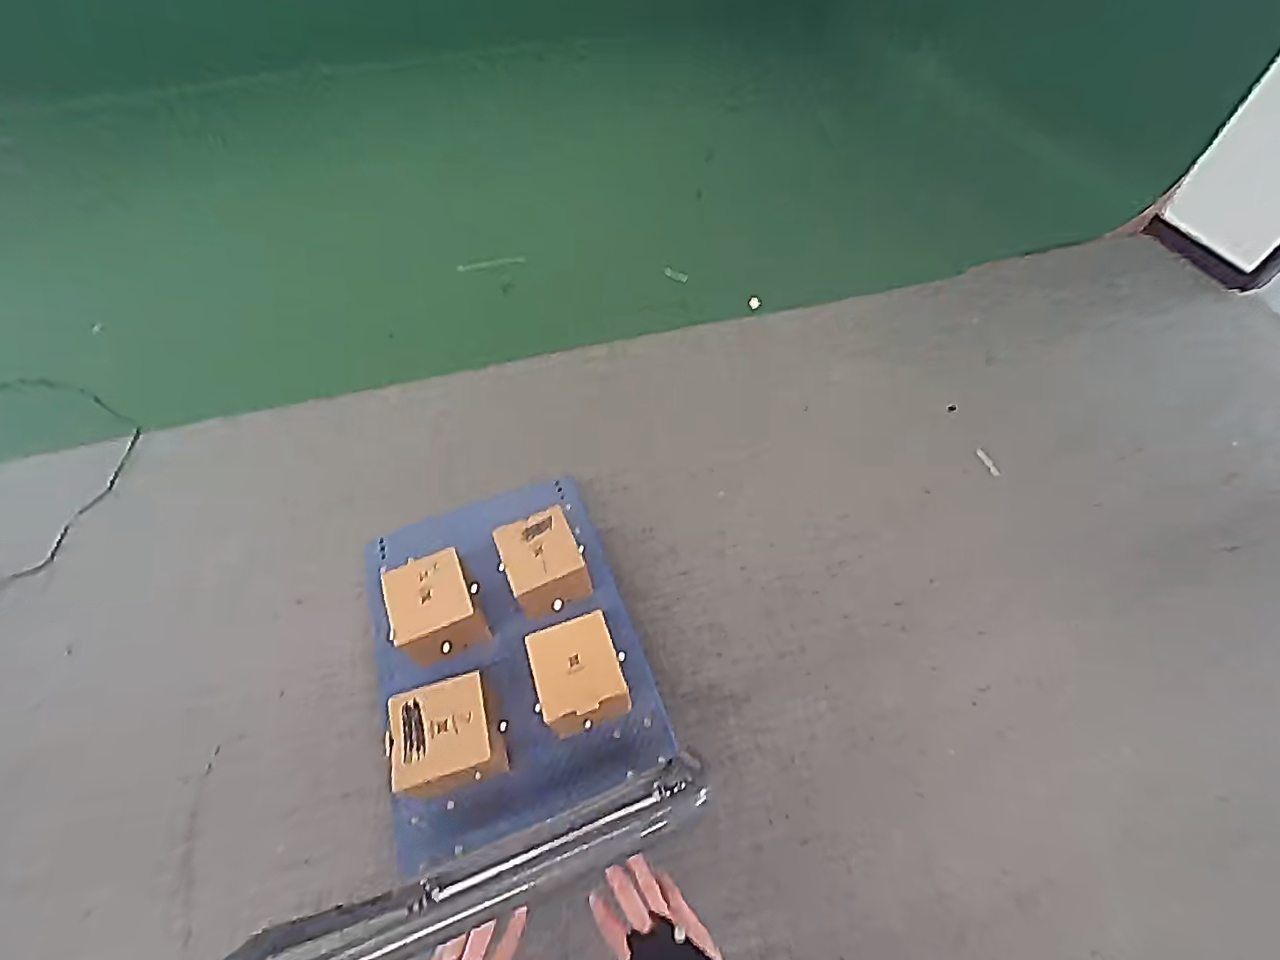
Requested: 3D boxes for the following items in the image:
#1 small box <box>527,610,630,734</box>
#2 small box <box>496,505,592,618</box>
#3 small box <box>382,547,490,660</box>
[{"bbox_3d":[-0.125,0.403,1.126,0.168,0.176,0.179,-17,58,-10],"label":"small box"},{"bbox_3d":[-0.221,0.193,1.267,0.168,0.176,0.179,-21,59,-11],"label":"small box"},{"bbox_3d":[-0.450,0.284,1.212,0.168,0.176,0.179,-21,58,-13],"label":"small box"}]
